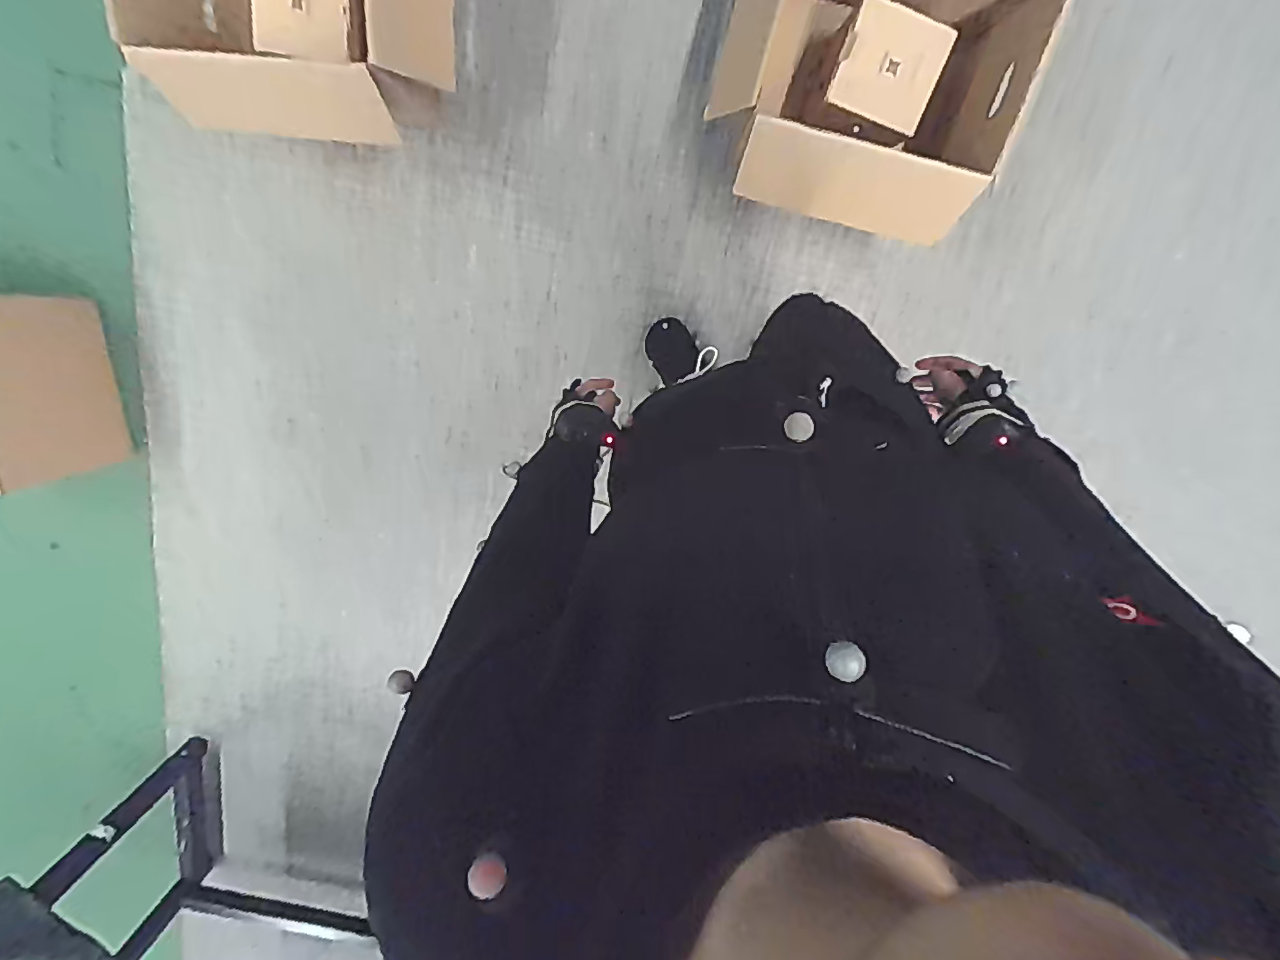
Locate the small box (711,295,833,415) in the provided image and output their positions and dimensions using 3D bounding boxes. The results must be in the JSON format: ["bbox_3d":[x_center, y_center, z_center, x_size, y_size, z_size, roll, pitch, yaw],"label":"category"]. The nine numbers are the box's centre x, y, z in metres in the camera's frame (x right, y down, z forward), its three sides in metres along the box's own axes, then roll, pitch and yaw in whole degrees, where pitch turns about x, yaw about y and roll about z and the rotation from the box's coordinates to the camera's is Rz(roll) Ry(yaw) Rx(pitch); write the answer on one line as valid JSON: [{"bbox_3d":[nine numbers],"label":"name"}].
[{"bbox_3d":[0.281,-0.257,1.146,0.176,0.168,0.179,-32,101,34],"label":"small box"}]
